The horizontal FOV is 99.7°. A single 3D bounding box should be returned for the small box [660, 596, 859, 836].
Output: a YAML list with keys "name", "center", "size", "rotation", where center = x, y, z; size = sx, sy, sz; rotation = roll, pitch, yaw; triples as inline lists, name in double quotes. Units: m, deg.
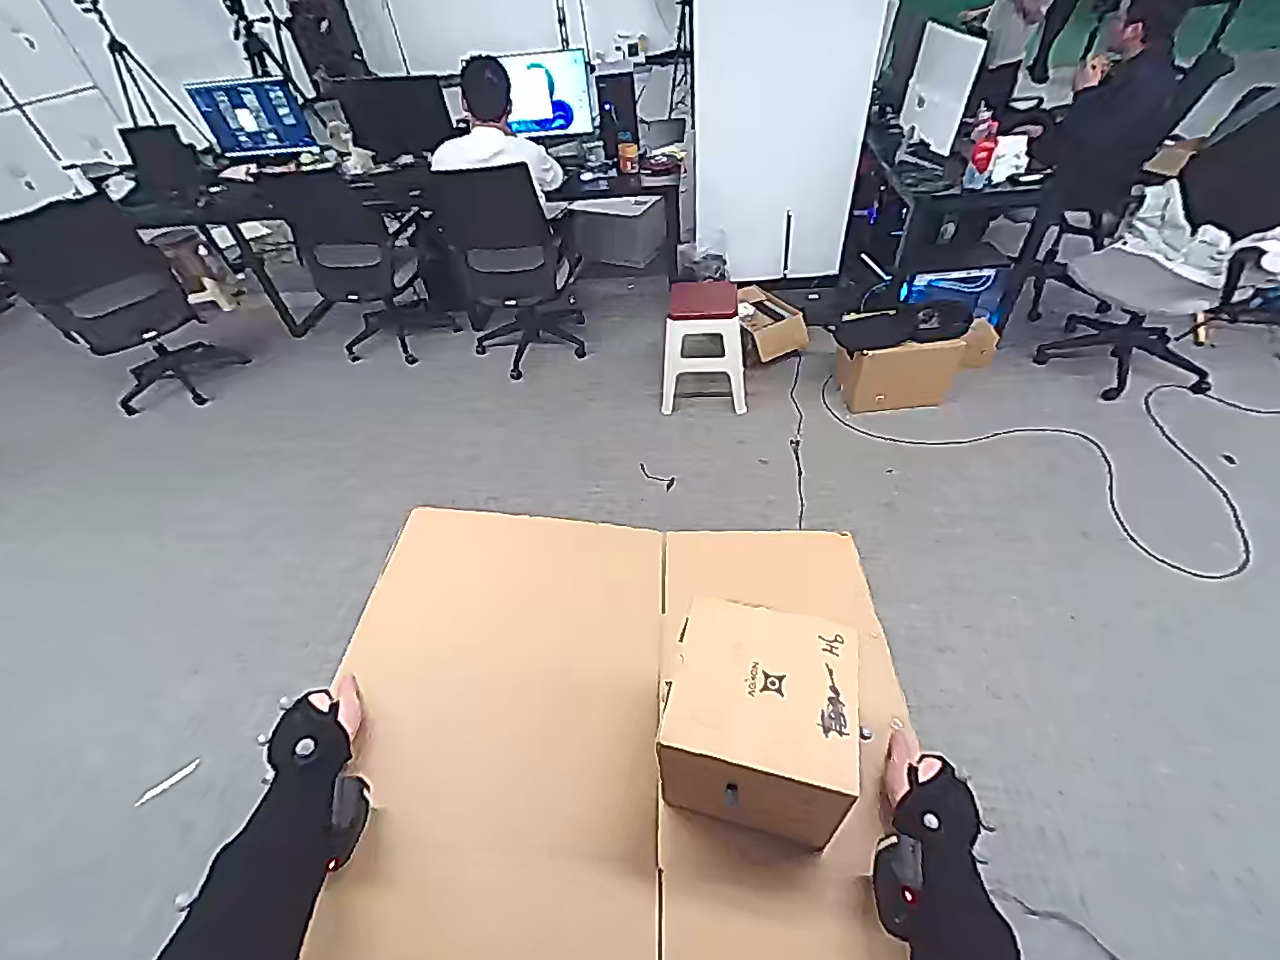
- name: "small box"
  center: [0.130, 0.253, 0.583]
  size: [0.179, 0.176, 0.168]
  rotation: [8, 45, 14]
